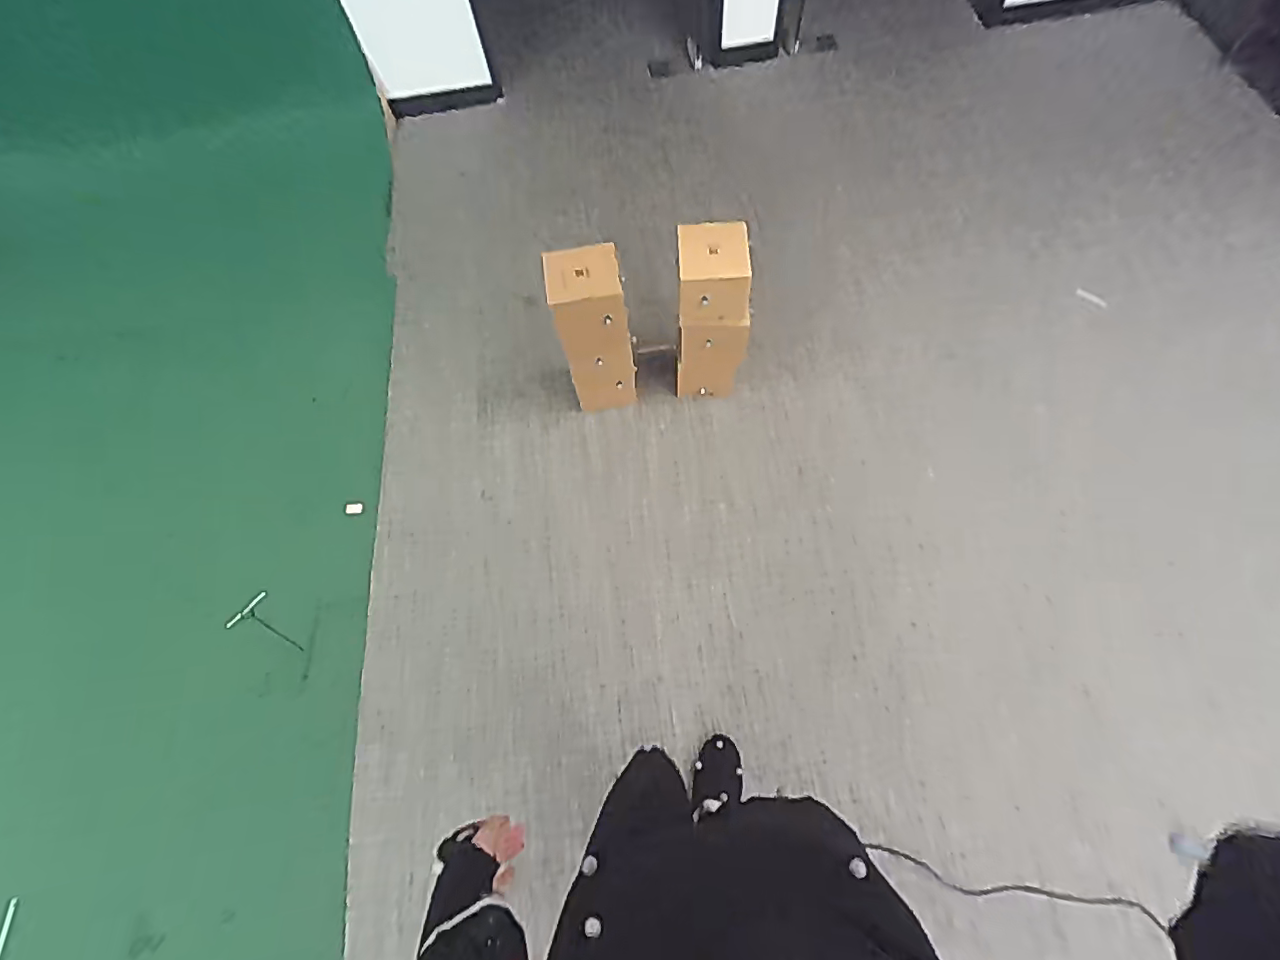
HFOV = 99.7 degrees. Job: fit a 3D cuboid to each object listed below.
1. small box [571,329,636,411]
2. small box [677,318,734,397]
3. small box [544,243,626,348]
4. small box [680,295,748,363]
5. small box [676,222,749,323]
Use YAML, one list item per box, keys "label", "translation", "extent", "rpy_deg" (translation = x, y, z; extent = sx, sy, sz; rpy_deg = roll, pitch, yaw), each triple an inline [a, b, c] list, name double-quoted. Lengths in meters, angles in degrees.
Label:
- label: "small box"
  translation: [-0.107, -0.331, 1.644]
  extent: [0.179, 0.176, 0.168]
  rpy_deg: [-8, 65, 1]
- label: "small box"
  translation: [0.195, -0.371, 1.641]
  extent: [0.168, 0.176, 0.179]
  rpy_deg: [0, 67, 5]
- label: "small box"
  translation: [-0.131, -0.452, 1.340]
  extent: [0.179, 0.176, 0.168]
  rpy_deg: [-10, 65, 1]
- label: "small box"
  translation: [0.200, -0.435, 1.489]
  extent: [0.179, 0.176, 0.168]
  rpy_deg: [0, 67, 5]
- label: "small box"
  translation: [0.177, -0.506, 1.344]
  extent: [0.168, 0.176, 0.179]
  rpy_deg: [-2, 66, 4]
